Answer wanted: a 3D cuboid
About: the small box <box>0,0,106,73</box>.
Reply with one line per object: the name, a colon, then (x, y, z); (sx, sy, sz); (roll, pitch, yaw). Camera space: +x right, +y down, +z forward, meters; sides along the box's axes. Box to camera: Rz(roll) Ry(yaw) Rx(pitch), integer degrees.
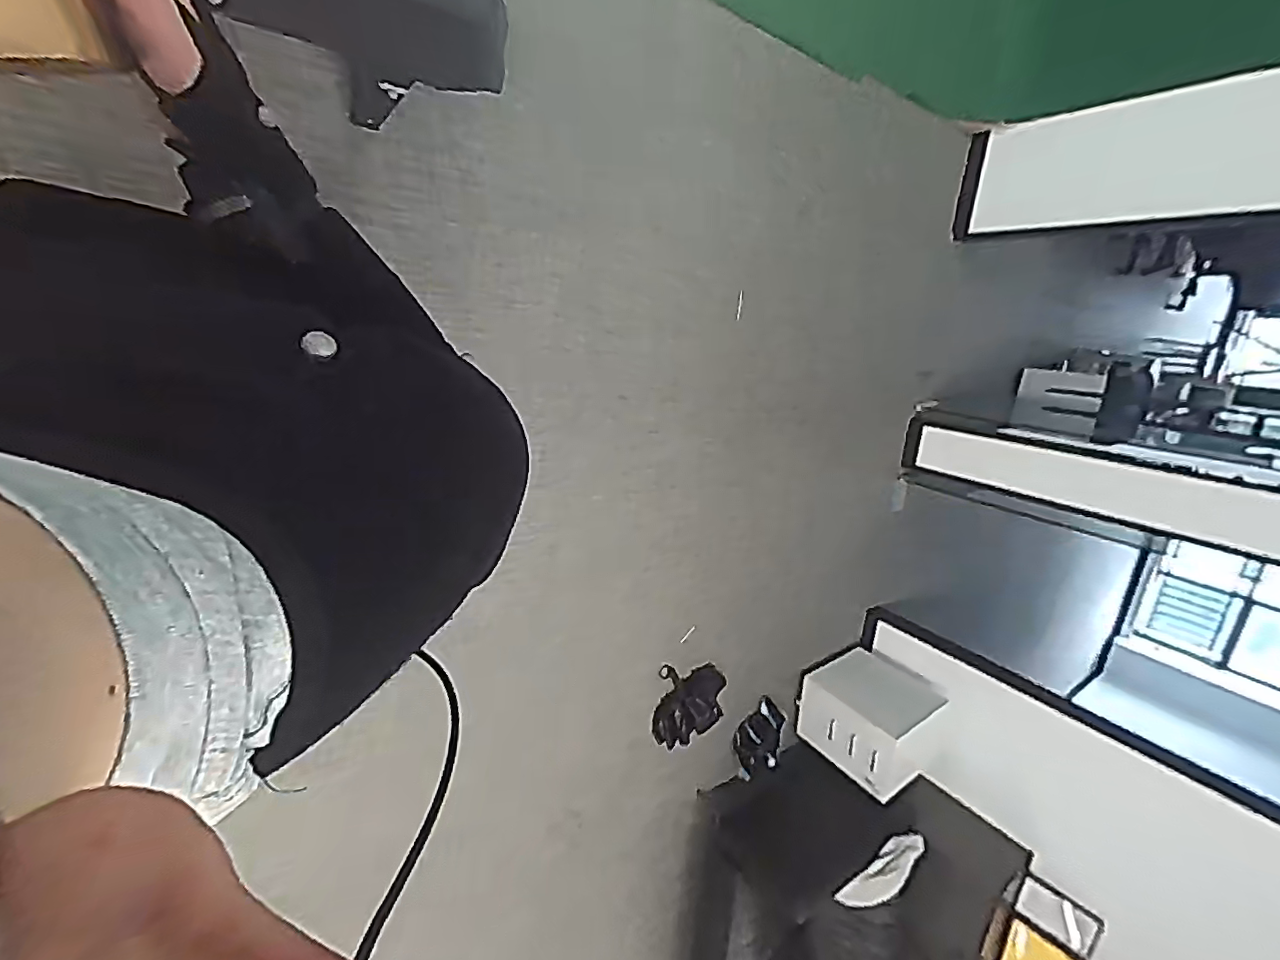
small box: (-0.377, -0.282, 0.223); (0.168, 0.176, 0.179); (-19, 130, -25)
